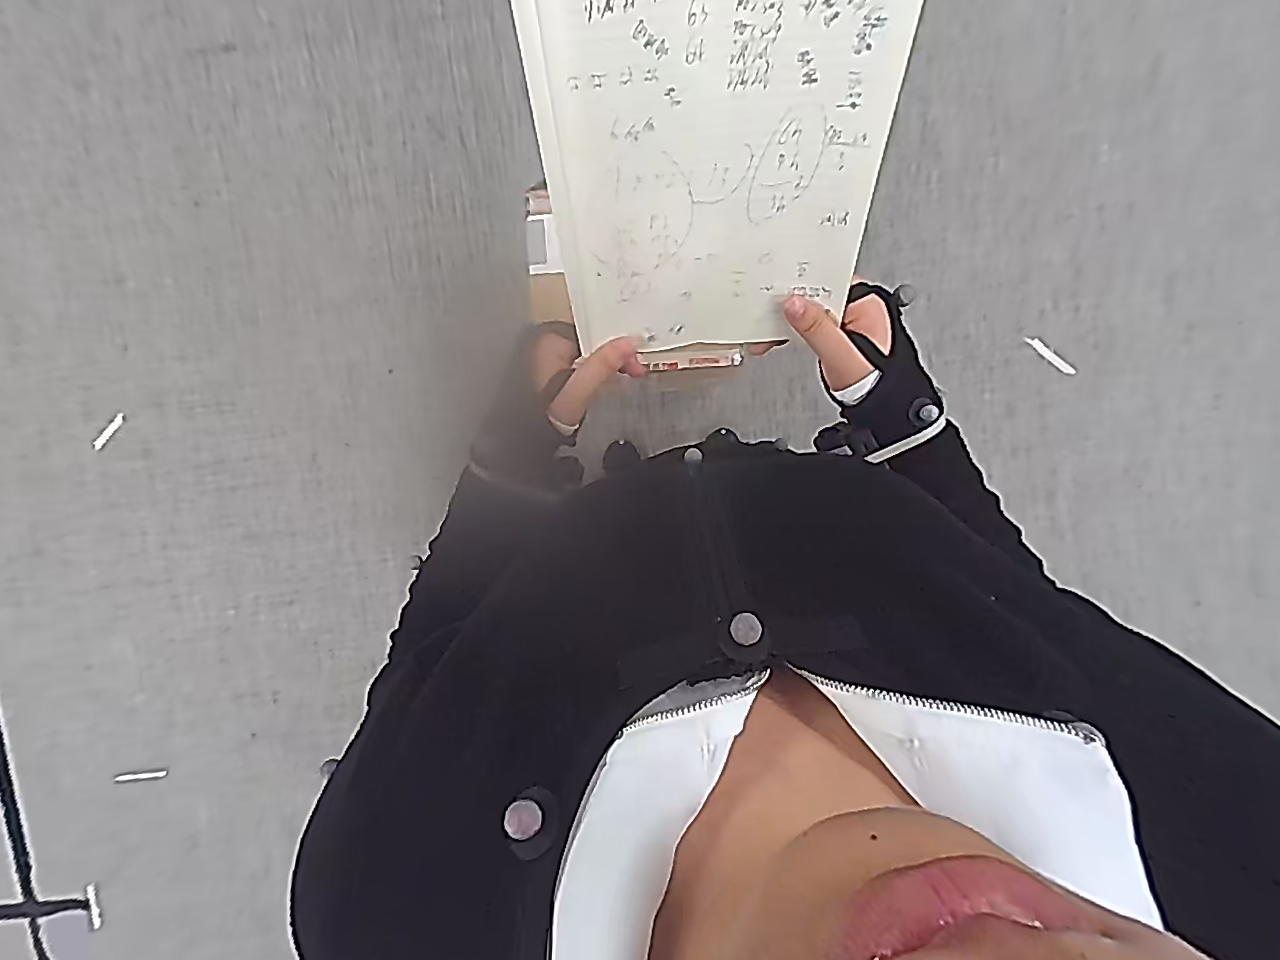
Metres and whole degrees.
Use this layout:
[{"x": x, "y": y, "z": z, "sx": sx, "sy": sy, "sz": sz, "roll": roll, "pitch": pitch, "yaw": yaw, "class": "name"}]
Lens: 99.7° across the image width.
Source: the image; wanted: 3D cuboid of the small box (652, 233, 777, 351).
[{"x": 0.119, "y": -0.324, "z": 0.923, "sx": 0.179, "sy": 0.176, "sz": 0.168, "roll": -9, "pitch": 95, "yaw": 1, "class": "small box"}]

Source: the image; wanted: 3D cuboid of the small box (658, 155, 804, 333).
[{"x": 0.117, "y": -0.318, "z": 0.759, "sx": 0.168, "sy": 0.176, "sz": 0.179, "roll": -6, "pitch": 95, "yaw": 0, "class": "small box"}]
